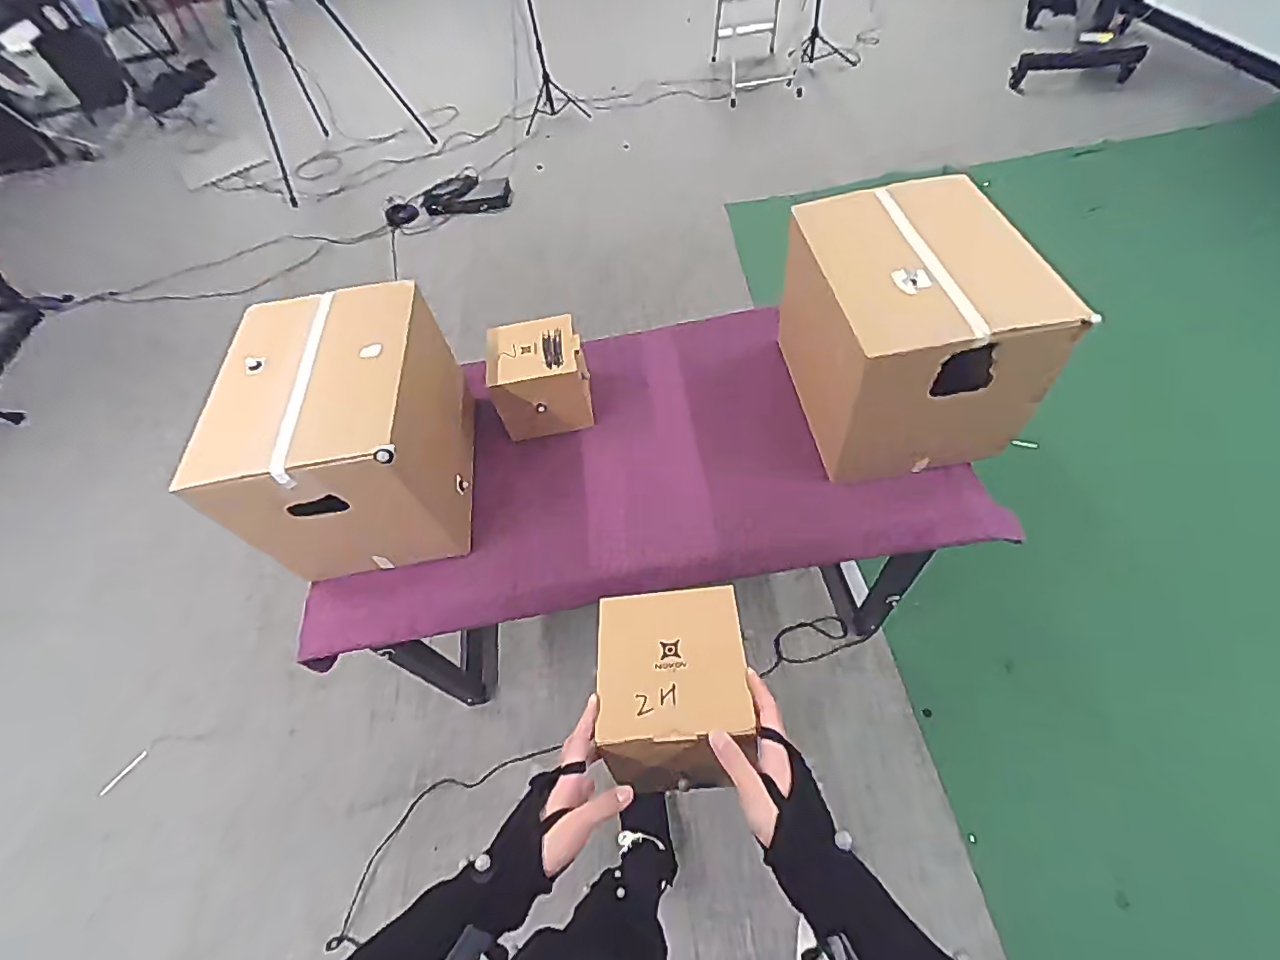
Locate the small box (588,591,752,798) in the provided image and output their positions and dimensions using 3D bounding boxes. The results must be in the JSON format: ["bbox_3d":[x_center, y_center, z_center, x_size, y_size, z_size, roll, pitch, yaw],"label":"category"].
[{"bbox_3d":[0.040,0.258,0.651,0.168,0.176,0.179,-7,43,6],"label":"small box"}]

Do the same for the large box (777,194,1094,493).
[{"bbox_3d":[0.459,-0.241,0.970,0.320,0.320,0.408,-10,55,3],"label":"large box"}]
